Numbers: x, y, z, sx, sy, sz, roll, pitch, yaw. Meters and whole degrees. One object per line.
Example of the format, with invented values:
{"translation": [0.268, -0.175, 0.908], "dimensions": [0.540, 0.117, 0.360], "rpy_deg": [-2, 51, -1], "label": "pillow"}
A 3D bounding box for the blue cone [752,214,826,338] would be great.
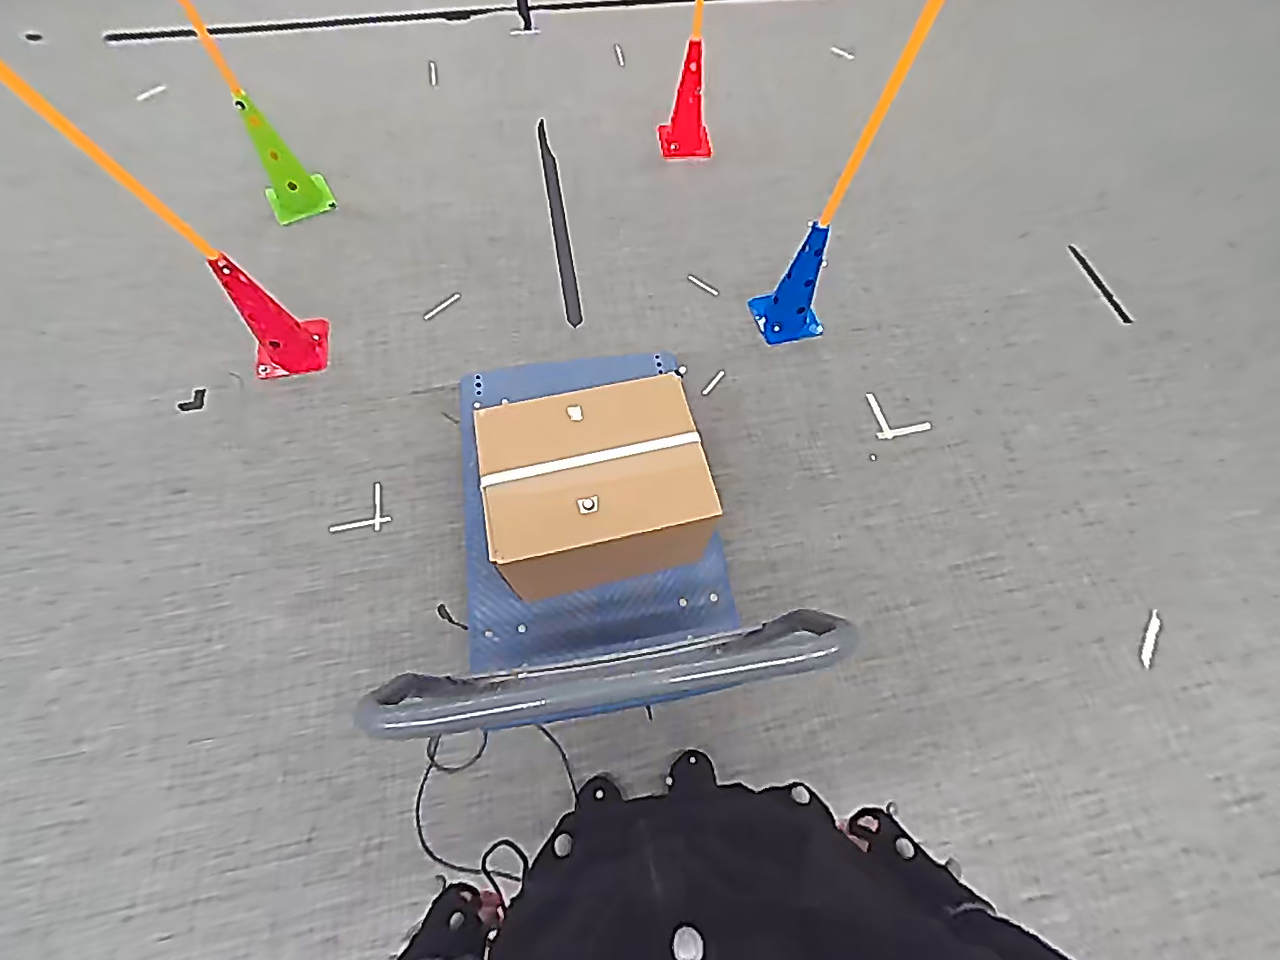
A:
{"translation": [0.485, -0.618, 1.625], "dimensions": [0.193, 0.380, 0.192], "rpy_deg": [-13, 65, -8], "label": "blue cone"}

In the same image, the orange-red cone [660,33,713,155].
{"translation": [0.190, -1.411, 1.964], "dimensions": [0.199, 0.360, 0.198], "rpy_deg": [-3, 66, -5], "label": "orange-red cone"}
